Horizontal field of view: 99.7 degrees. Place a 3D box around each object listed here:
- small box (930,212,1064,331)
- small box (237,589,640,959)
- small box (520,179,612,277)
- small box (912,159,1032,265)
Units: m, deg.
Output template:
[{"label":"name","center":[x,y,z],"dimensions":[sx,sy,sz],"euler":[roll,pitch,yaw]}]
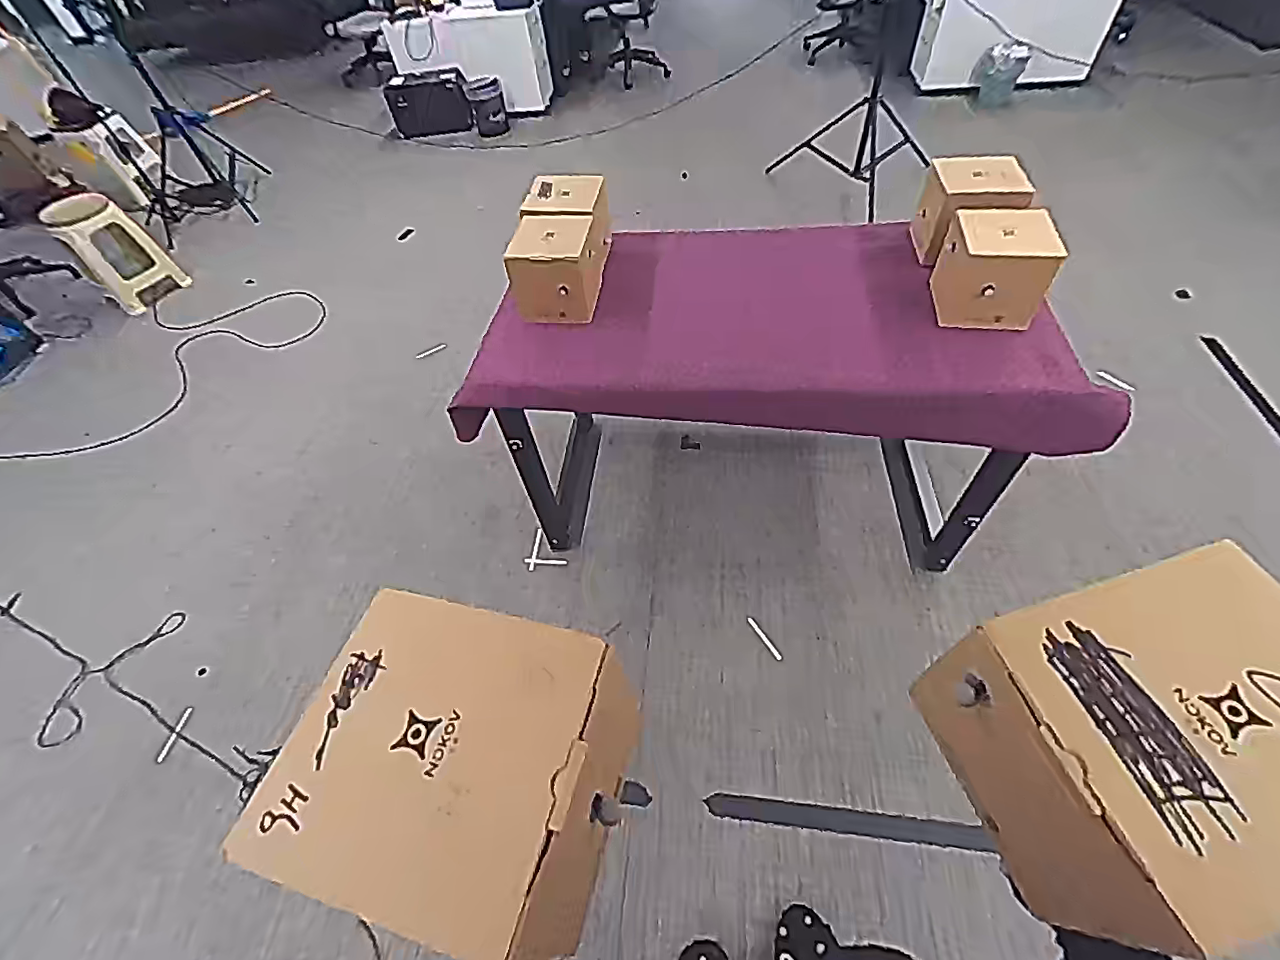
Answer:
[{"label":"small box","center":[0.714,-0.423,1.105],"dimensions":[0.168,0.176,0.179],"euler":[6,52,11]},{"label":"small box","center":[-0.107,0.202,0.378],"dimensions":[0.179,0.176,0.168],"euler":[10,54,15]},{"label":"small box","center":[-0.176,-0.625,1.346],"dimensions":[0.179,0.176,0.168],"euler":[5,55,8]},{"label":"small box","center":[0.739,-0.605,1.233],"dimensions":[0.179,0.176,0.168],"euler":[4,54,8]}]
